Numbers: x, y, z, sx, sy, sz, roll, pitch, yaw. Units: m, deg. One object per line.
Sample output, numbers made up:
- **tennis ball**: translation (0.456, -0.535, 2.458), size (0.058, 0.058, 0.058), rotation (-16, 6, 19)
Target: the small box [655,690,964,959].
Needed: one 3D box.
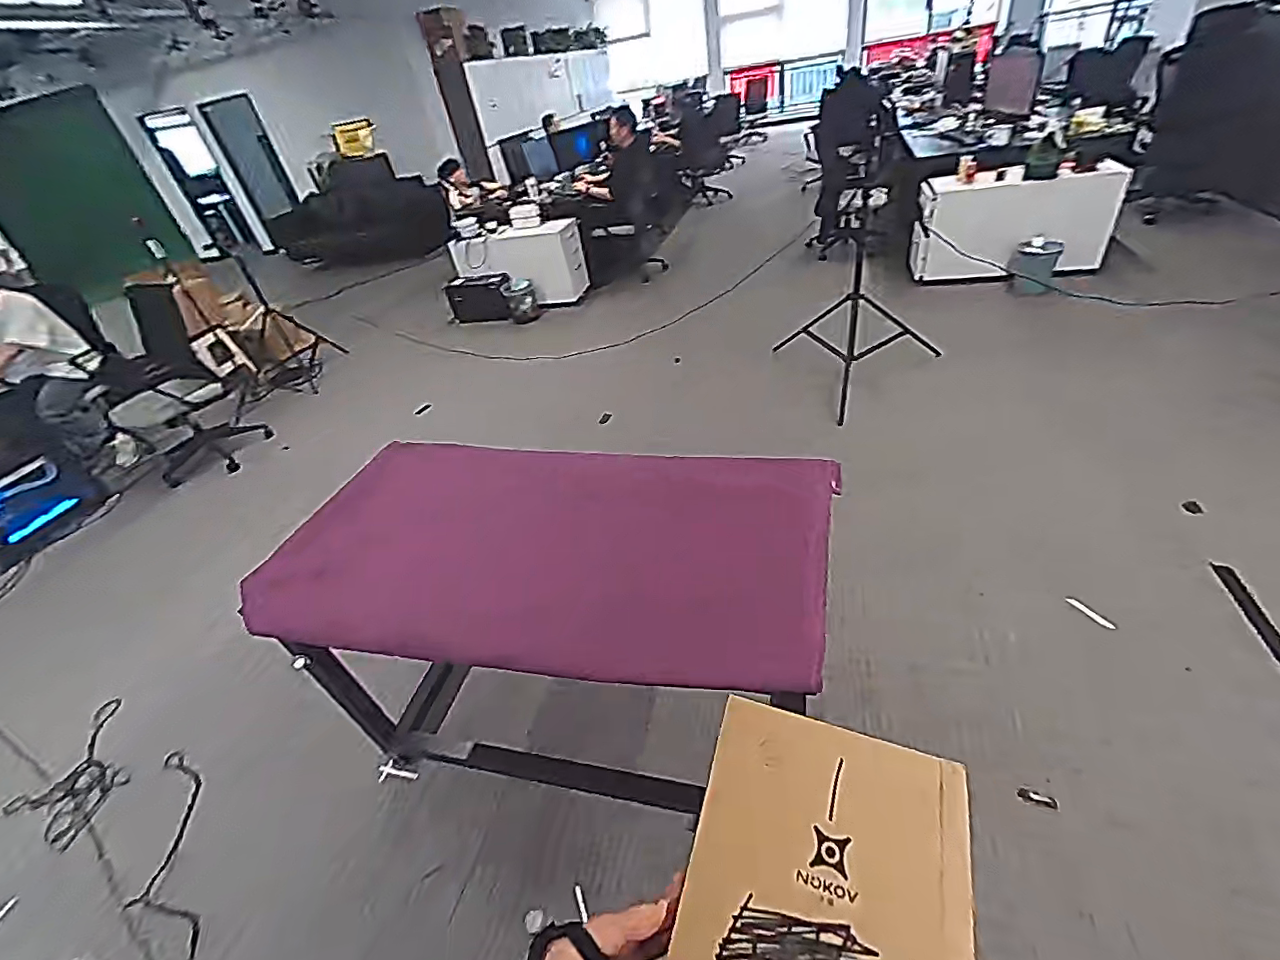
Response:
- **small box**: translation (0.118, 0.290, 0.396), size (0.168, 0.176, 0.179), rotation (11, 49, 16)
